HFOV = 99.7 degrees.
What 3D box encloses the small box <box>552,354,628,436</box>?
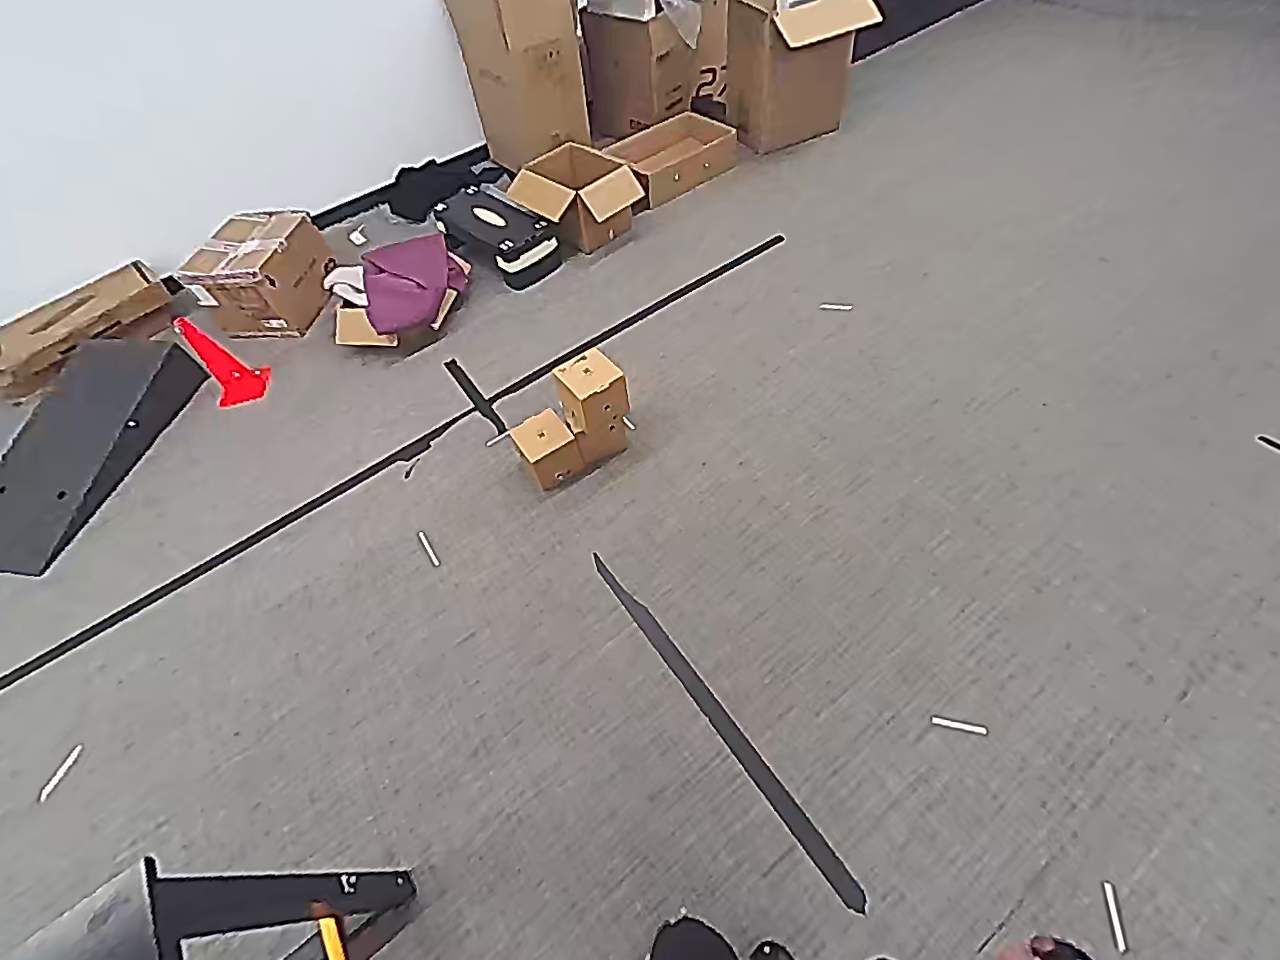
[{"bbox_3d":[-0.154,-0.264,1.740,0.168,0.176,0.179,-33,58,-16],"label":"small box"}]
